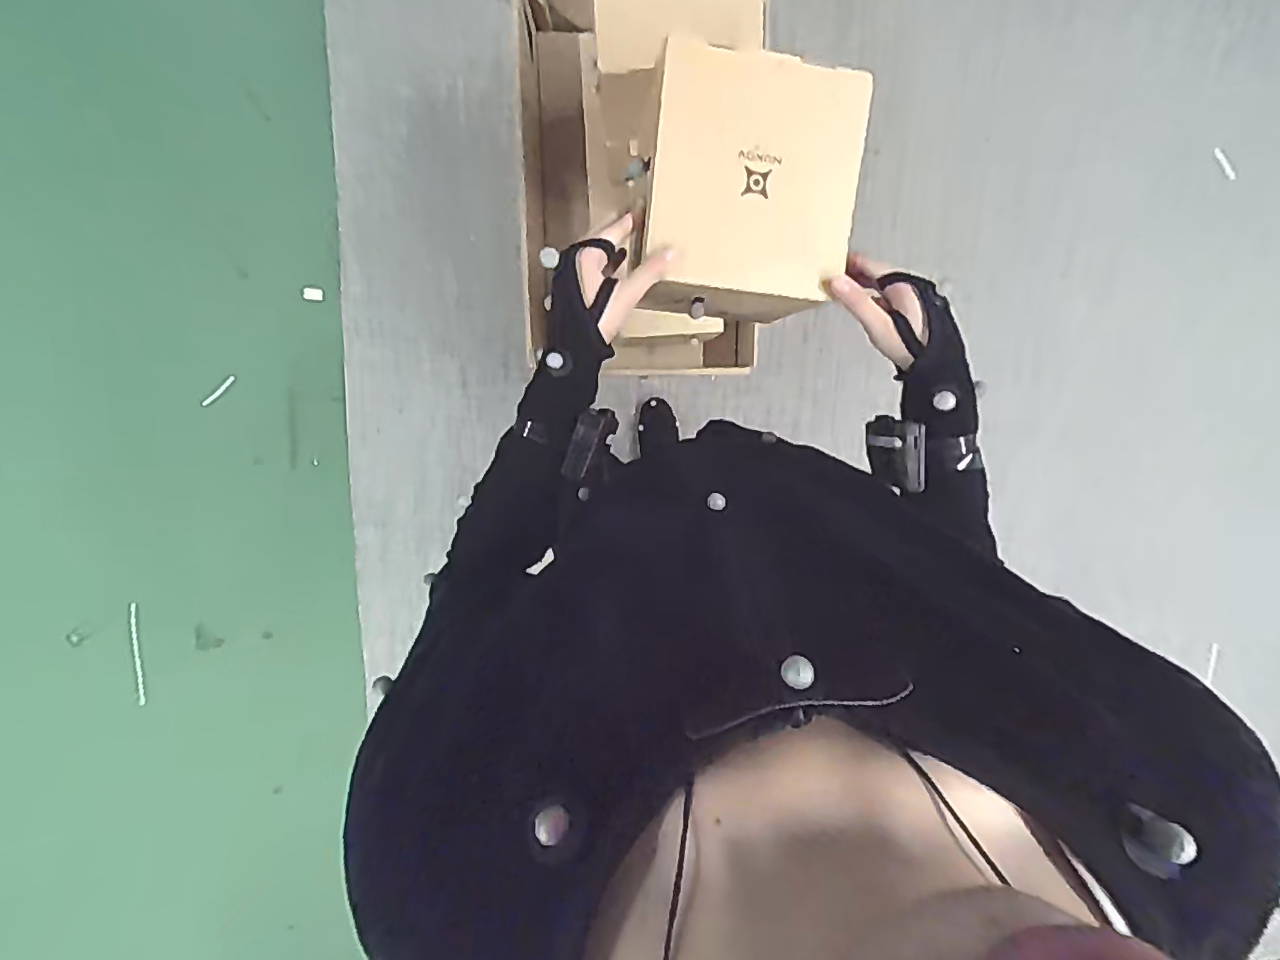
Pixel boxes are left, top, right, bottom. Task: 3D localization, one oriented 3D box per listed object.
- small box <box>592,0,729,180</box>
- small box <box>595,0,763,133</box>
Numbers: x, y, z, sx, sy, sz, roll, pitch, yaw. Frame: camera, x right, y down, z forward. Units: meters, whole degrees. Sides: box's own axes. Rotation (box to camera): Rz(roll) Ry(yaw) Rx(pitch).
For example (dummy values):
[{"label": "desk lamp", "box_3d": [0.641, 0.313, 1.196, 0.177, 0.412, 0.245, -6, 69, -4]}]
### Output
[{"label": "small box", "box_3d": [0.029, -0.538, 0.753, 0.168, 0.176, 0.179, -5, 101, 1]}, {"label": "small box", "box_3d": [0.037, -0.505, 0.594, 0.168, 0.176, 0.179, -2, 102, -1]}]
